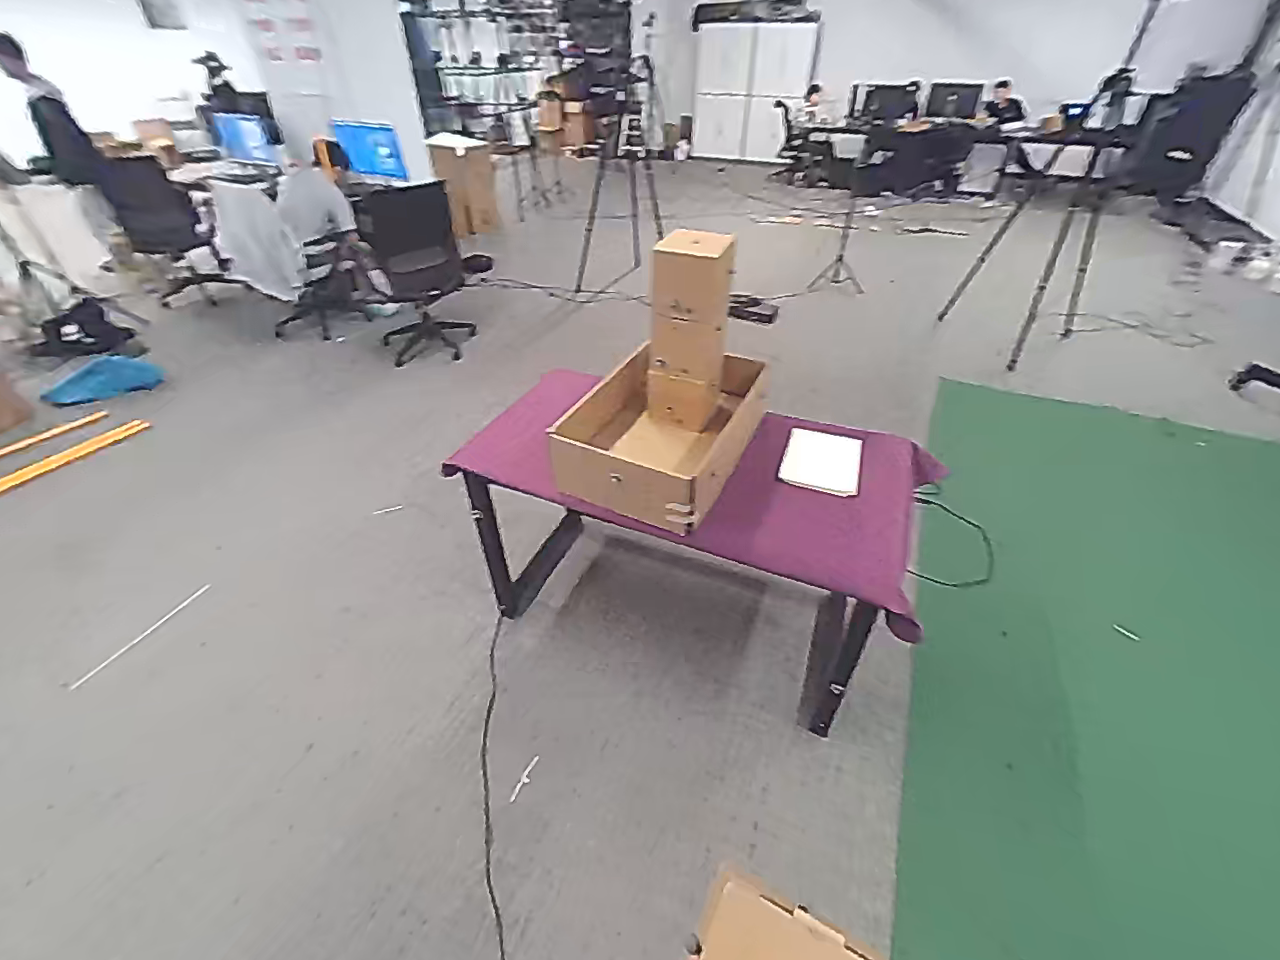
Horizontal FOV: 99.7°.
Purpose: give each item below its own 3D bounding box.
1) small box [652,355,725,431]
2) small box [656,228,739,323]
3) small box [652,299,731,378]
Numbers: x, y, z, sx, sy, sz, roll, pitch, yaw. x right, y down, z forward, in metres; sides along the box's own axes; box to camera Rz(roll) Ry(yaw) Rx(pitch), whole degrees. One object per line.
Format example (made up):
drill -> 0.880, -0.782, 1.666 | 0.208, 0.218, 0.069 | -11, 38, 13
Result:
small box -> 0.139, -0.271, 1.589 | 0.168, 0.176, 0.179 | 16, 44, 18
small box -> 0.143, -0.523, 1.380 | 0.168, 0.176, 0.179 | 16, 44, 18
small box -> 0.141, -0.400, 1.487 | 0.168, 0.176, 0.179 | 16, 43, 17
